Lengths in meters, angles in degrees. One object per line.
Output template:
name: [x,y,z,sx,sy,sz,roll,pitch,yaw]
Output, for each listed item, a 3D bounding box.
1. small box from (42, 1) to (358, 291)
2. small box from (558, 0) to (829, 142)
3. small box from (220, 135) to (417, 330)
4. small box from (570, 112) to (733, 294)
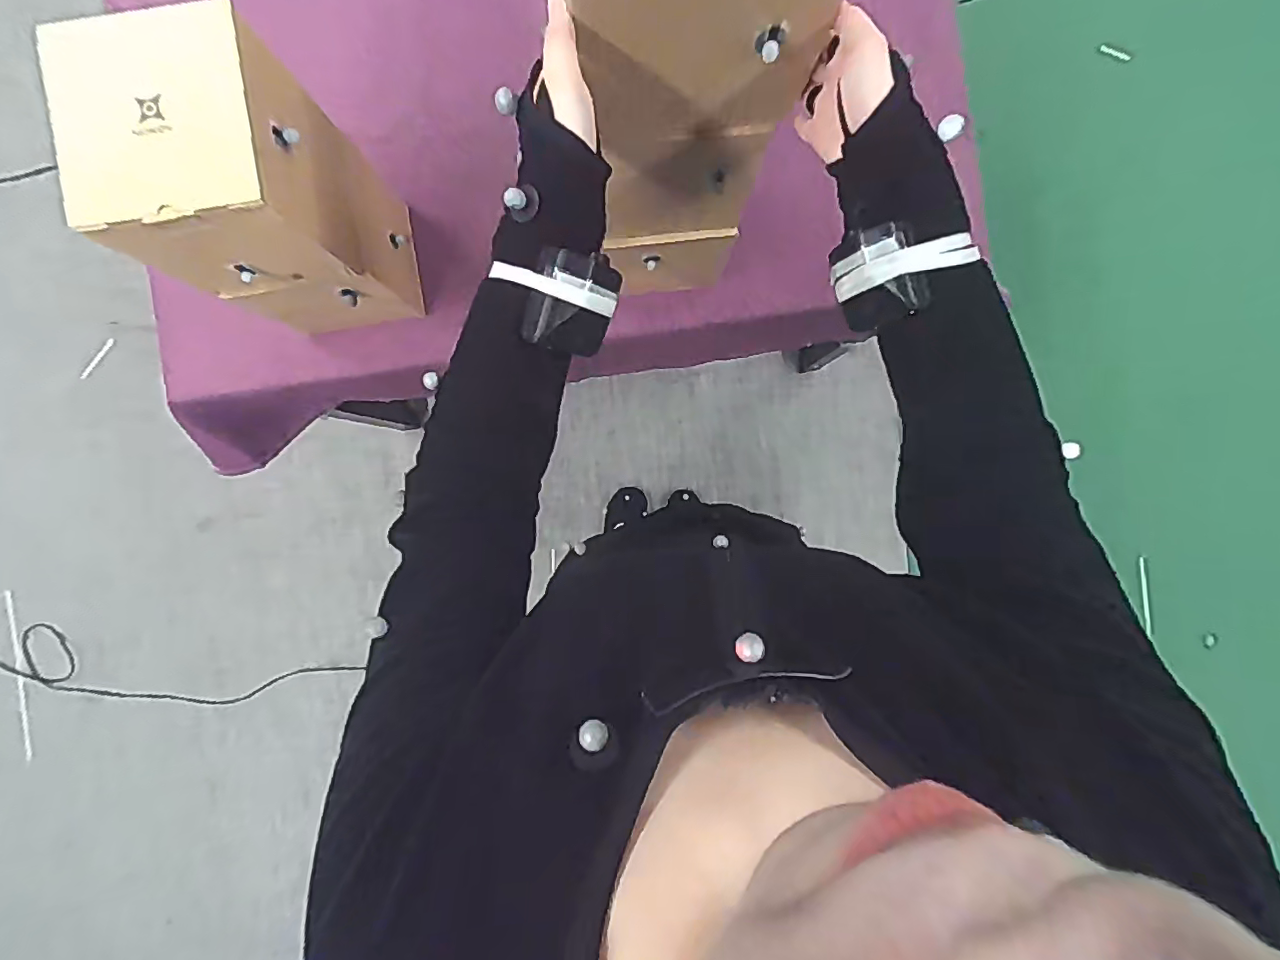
small box: [-0.410,-0.310,0.537,0.168,0.176,0.179,-9,91,0]
small box: [0.027,-0.370,0.371,0.179,0.176,0.168,-8,89,-1]
small box: [-0.407,-0.306,0.700,0.179,0.176,0.168,-9,90,0]
small box: [0.014,-0.353,0.699,0.179,0.176,0.168,-6,91,0]
